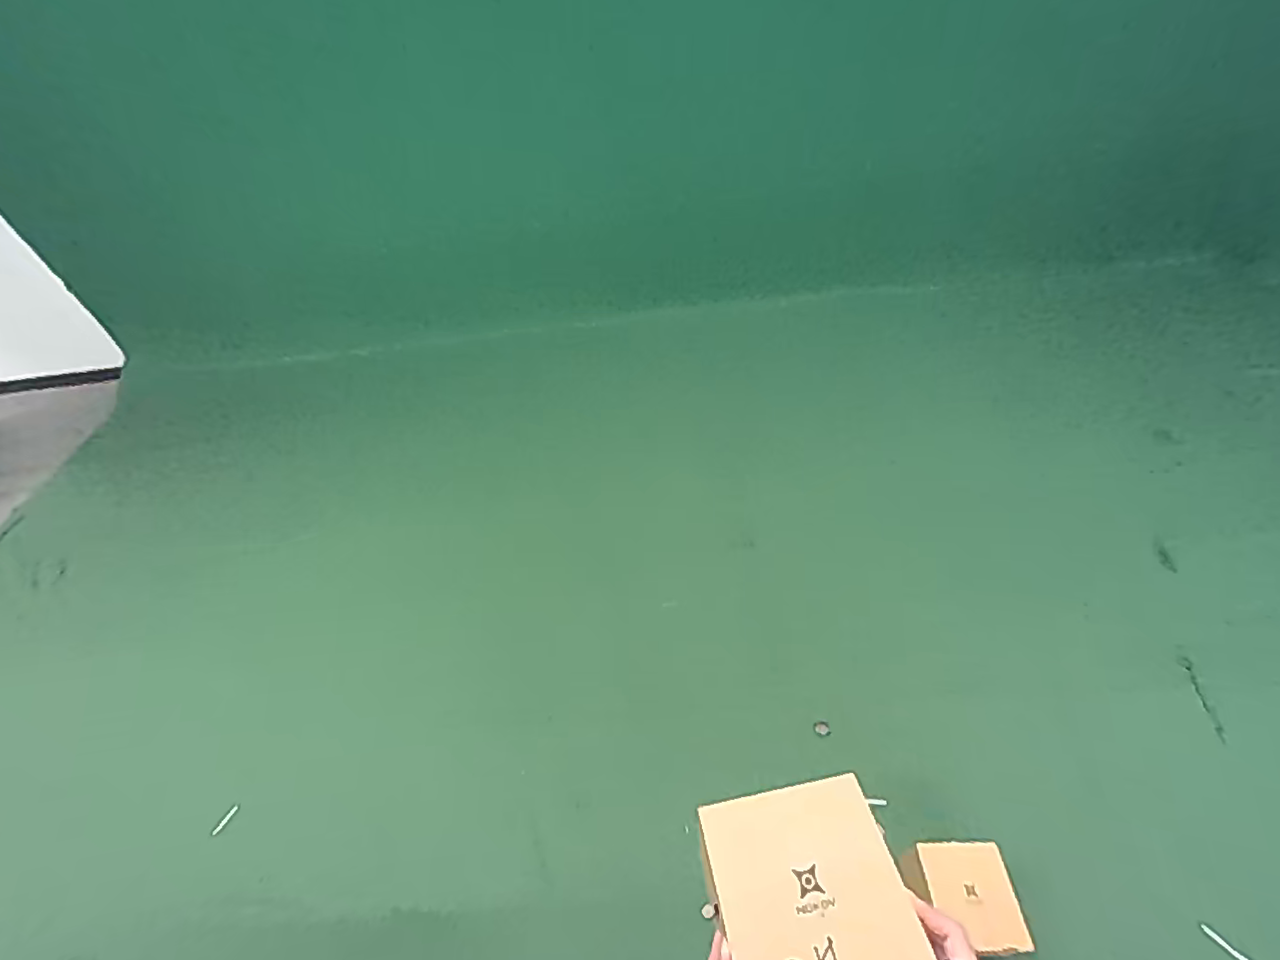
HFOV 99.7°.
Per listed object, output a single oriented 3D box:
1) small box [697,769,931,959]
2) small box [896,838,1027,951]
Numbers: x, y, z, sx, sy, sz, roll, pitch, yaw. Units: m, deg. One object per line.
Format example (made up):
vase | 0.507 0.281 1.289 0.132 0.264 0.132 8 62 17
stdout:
small box | 0.153 0.421 0.534 0.168 0.176 0.179 -10 42 -3
small box | 0.669 0.885 1.154 0.168 0.176 0.179 -4 48 5
